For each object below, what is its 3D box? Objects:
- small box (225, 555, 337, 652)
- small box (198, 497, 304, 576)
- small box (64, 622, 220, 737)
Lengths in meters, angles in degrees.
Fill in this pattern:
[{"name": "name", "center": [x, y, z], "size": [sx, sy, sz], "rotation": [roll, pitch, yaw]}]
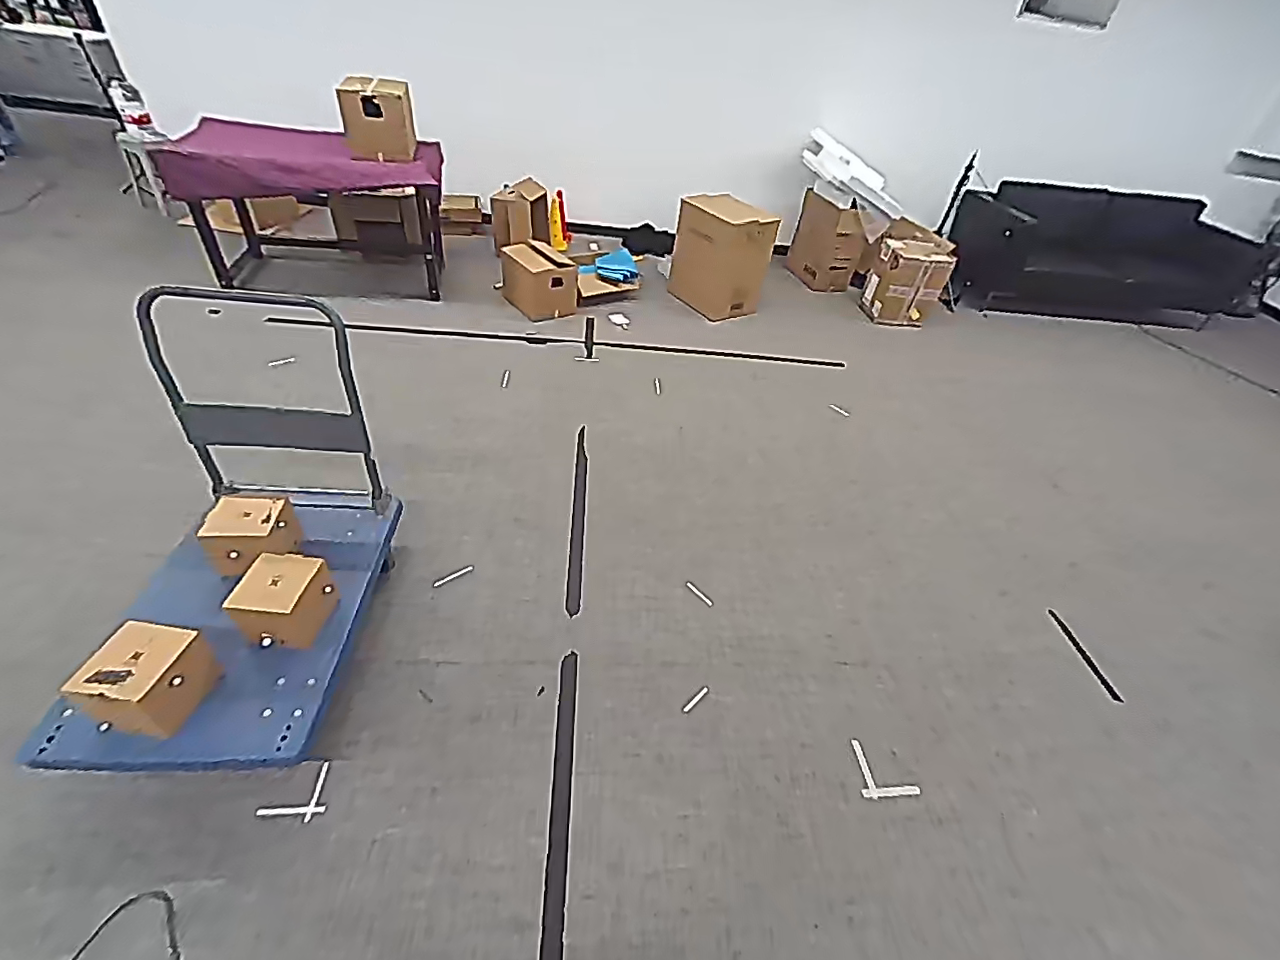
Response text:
[{"name": "small box", "center": [-0.930, 0.325, 1.425], "size": [0.168, 0.176, 0.179], "rotation": [6, 42, -1]}, {"name": "small box", "center": [-1.117, 0.167, 1.571], "size": [0.179, 0.176, 0.168], "rotation": [0, 42, -9]}, {"name": "small box", "center": [-1.116, 0.457, 1.233], "size": [0.168, 0.176, 0.179], "rotation": [10, 39, 0]}]
